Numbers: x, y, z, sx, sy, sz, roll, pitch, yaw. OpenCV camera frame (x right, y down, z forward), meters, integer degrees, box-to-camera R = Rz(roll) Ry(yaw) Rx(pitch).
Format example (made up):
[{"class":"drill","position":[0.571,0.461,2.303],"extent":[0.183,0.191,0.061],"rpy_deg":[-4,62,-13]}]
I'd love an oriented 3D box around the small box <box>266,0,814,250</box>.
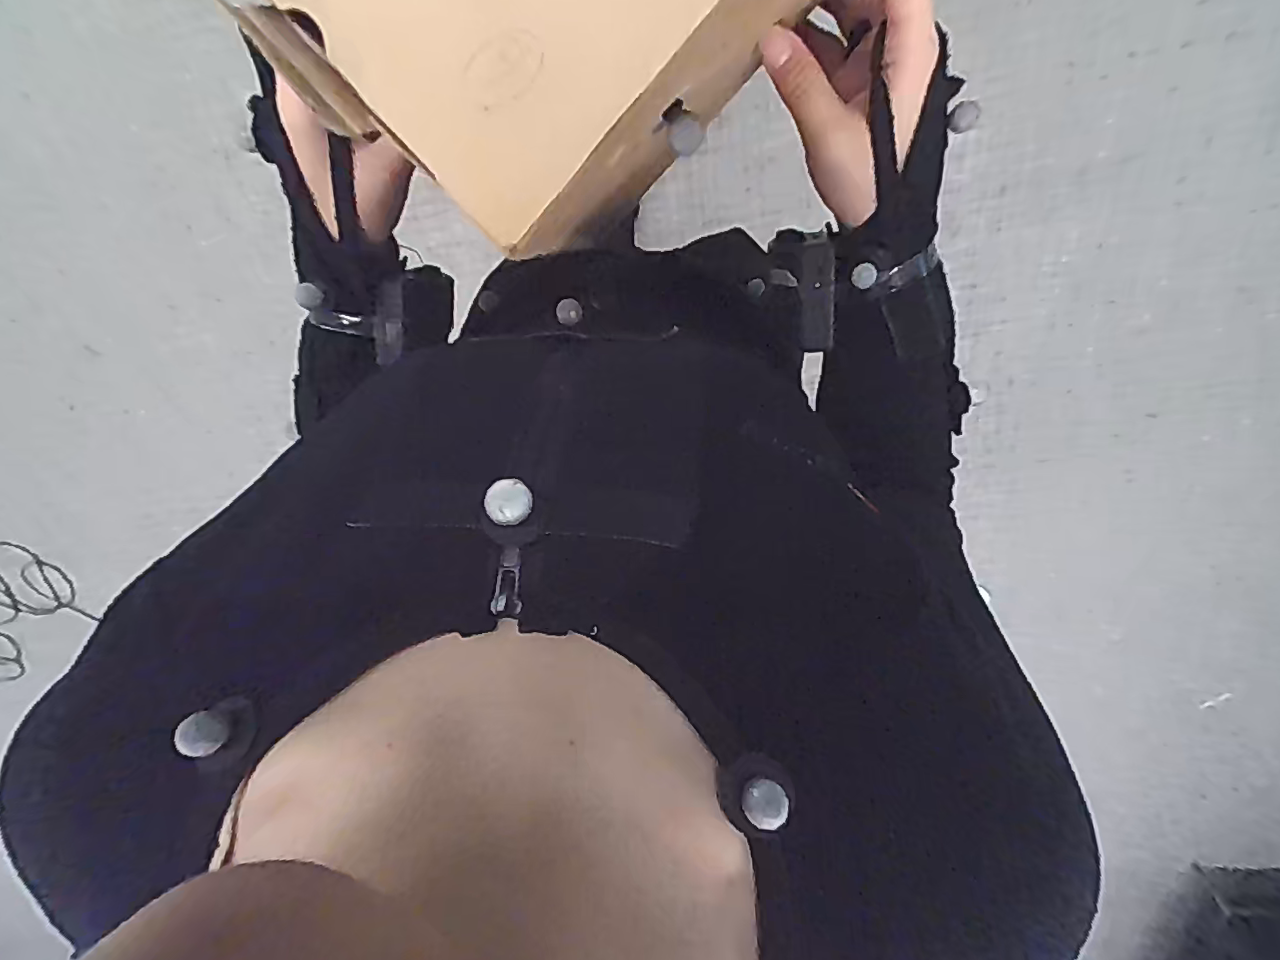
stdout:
[{"class":"small box","position":[-0.029,-0.218,0.218],"extent":[0.179,0.176,0.168],"rpy_deg":[-41,104,20]}]
